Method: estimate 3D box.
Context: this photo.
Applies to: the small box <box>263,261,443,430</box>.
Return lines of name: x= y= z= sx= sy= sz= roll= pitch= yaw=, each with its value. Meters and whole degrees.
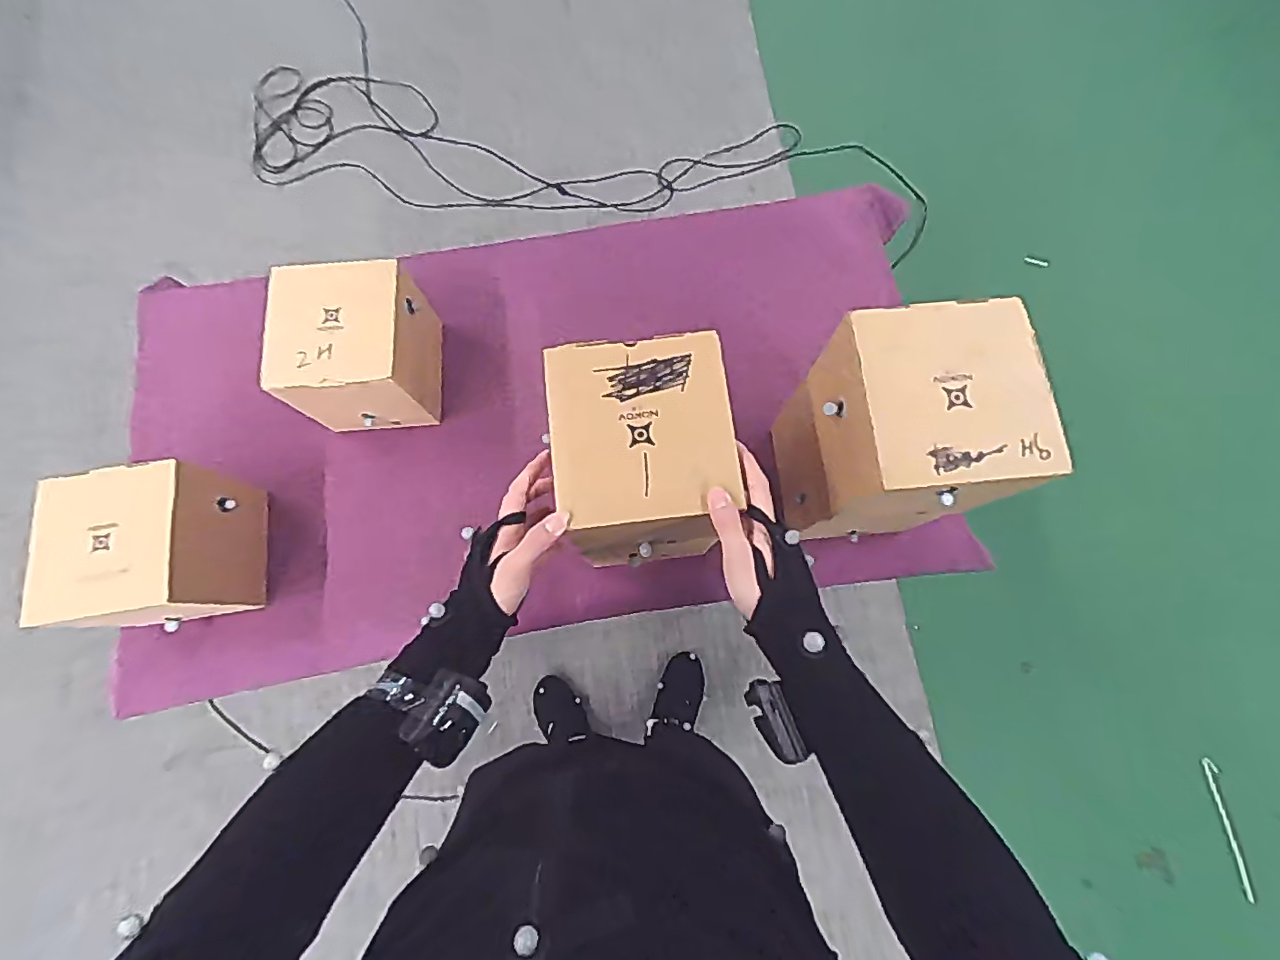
small box: x=-0.392 y=-0.183 z=0.770 sx=0.168 sy=0.176 sz=0.179 roll=-4 pitch=77 yaw=0

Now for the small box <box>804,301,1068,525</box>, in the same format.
small box: x=0.281 y=-0.059 z=0.562 sx=0.168 sy=0.176 sz=0.179 roll=-5 pitch=75 yaw=1

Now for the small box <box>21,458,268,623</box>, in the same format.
small box: x=-0.621 y=0.087 z=0.705 sx=0.168 sy=0.176 sz=0.179 roll=-9 pitch=76 yaw=-1

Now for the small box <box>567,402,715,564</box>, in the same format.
small box: x=0.002 y=0.015 z=0.720 sx=0.168 sy=0.176 sz=0.179 roll=-7 pitch=75 yaw=-1
